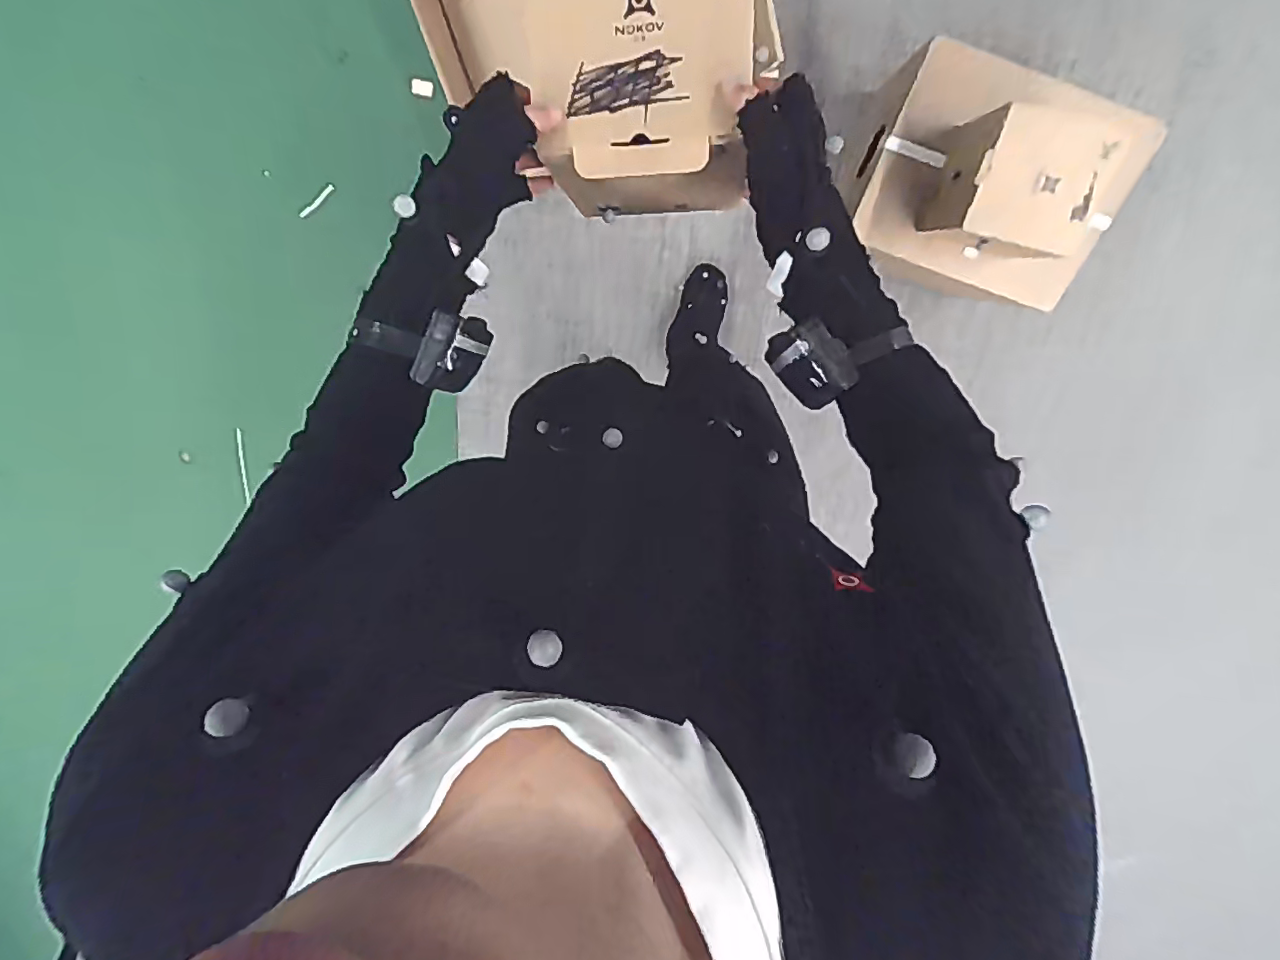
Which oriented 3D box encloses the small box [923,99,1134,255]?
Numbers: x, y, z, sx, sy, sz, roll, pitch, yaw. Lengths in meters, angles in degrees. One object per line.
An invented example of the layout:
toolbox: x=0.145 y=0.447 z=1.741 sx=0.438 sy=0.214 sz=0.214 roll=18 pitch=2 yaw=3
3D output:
small box: x=0.574 y=-0.451 z=0.833 sx=0.179 sy=0.176 sz=0.168 roll=15 pitch=114 yaw=1

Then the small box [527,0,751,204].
small box: x=0.010 y=-0.352 z=0.464 sx=0.168 sy=0.176 sz=0.179 roll=0 pitch=100 yaw=8
